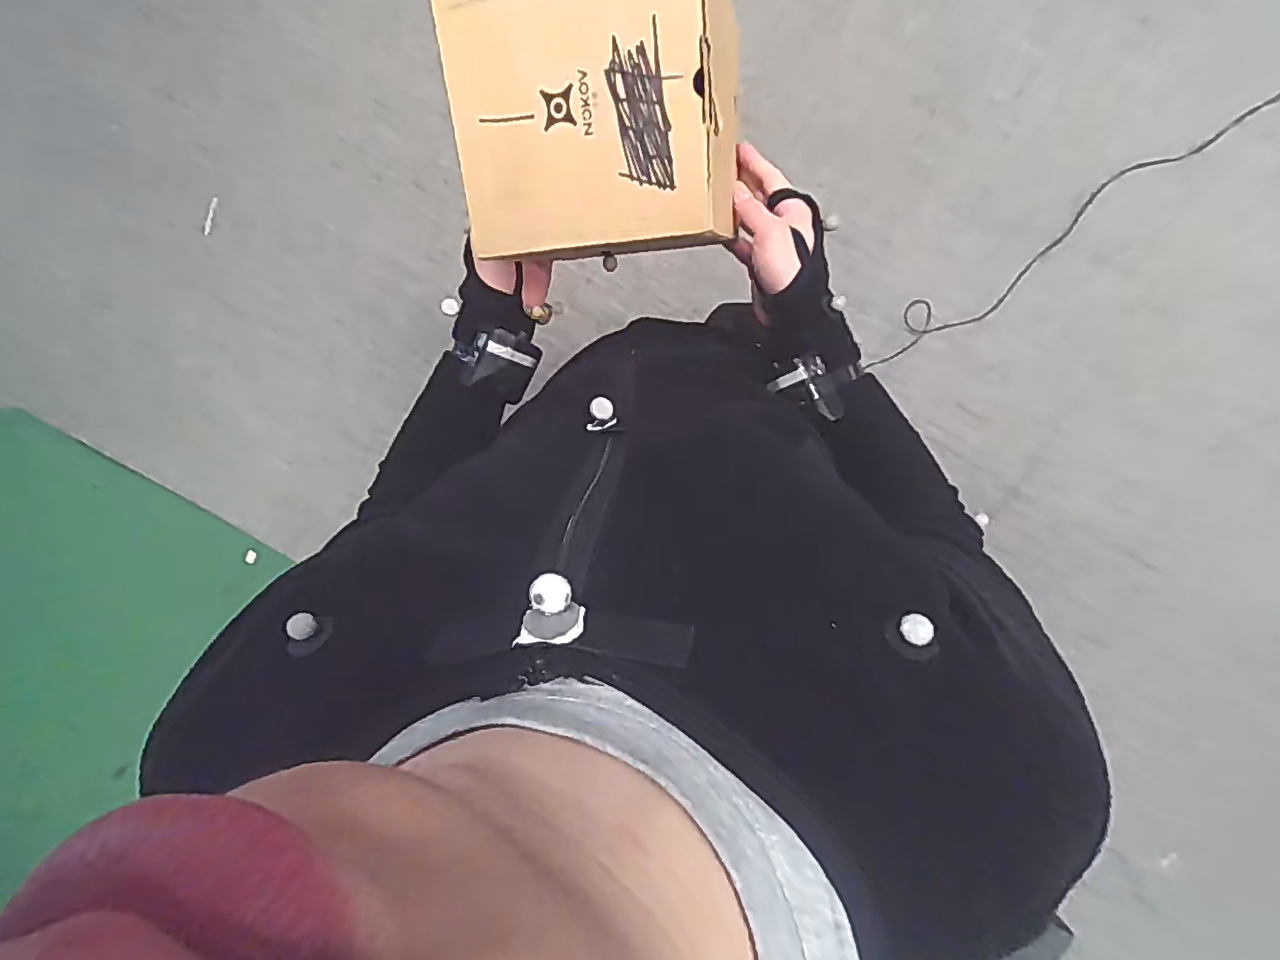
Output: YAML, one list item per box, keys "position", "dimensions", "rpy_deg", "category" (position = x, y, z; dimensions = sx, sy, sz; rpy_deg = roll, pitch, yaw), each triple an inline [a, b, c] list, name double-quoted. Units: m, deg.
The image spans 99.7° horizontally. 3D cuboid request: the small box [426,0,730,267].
- position: [-0.025, -0.262, 0.419]
  dimensions: [0.179, 0.176, 0.168]
  rpy_deg: [1, 111, 18]
  category: "small box"
